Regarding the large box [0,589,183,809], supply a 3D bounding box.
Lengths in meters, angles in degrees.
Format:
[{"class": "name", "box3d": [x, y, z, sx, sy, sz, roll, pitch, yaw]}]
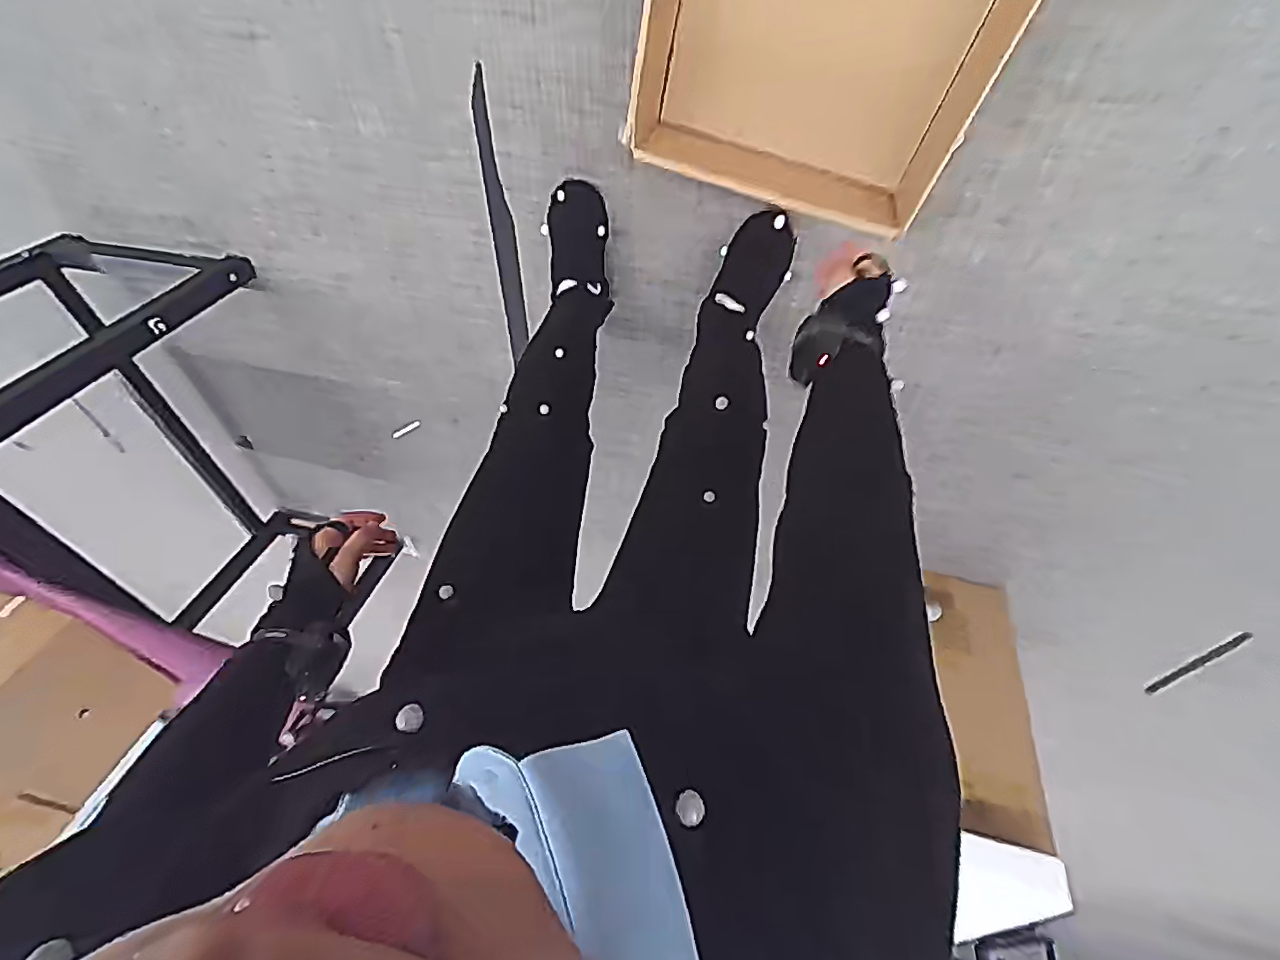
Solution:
[{"class": "large box", "box3d": [-1.384, 0.486, 1.214, 0.320, 0.320, 0.408, 14, 140, 10]}]
